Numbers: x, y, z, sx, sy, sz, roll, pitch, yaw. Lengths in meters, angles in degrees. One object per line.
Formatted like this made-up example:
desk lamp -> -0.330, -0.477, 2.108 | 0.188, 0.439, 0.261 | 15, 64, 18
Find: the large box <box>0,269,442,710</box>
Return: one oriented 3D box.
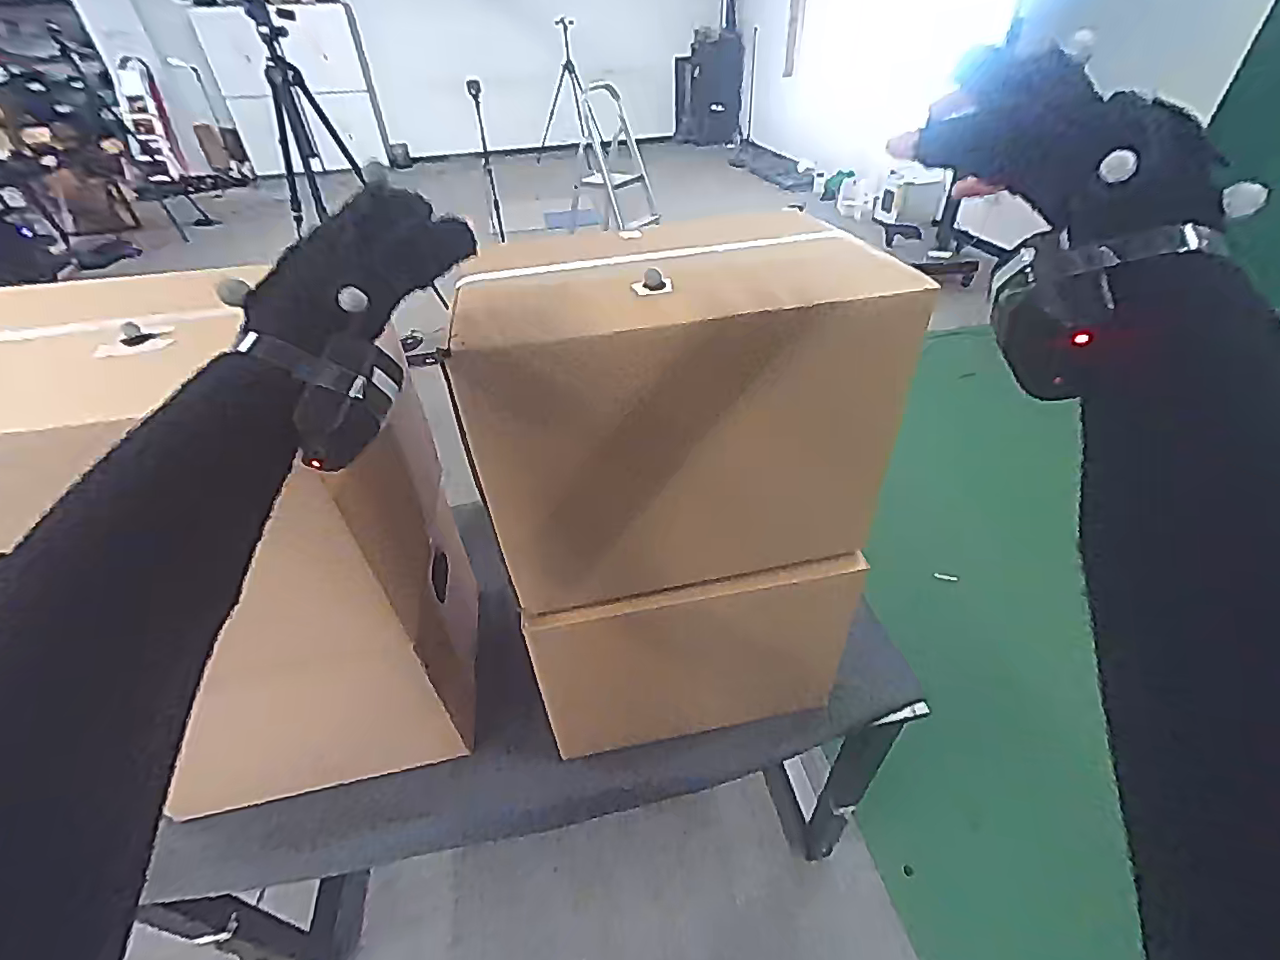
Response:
large box -> -0.462, -0.006, 0.573 | 0.408, 0.320, 0.320 | -7, 41, -8
